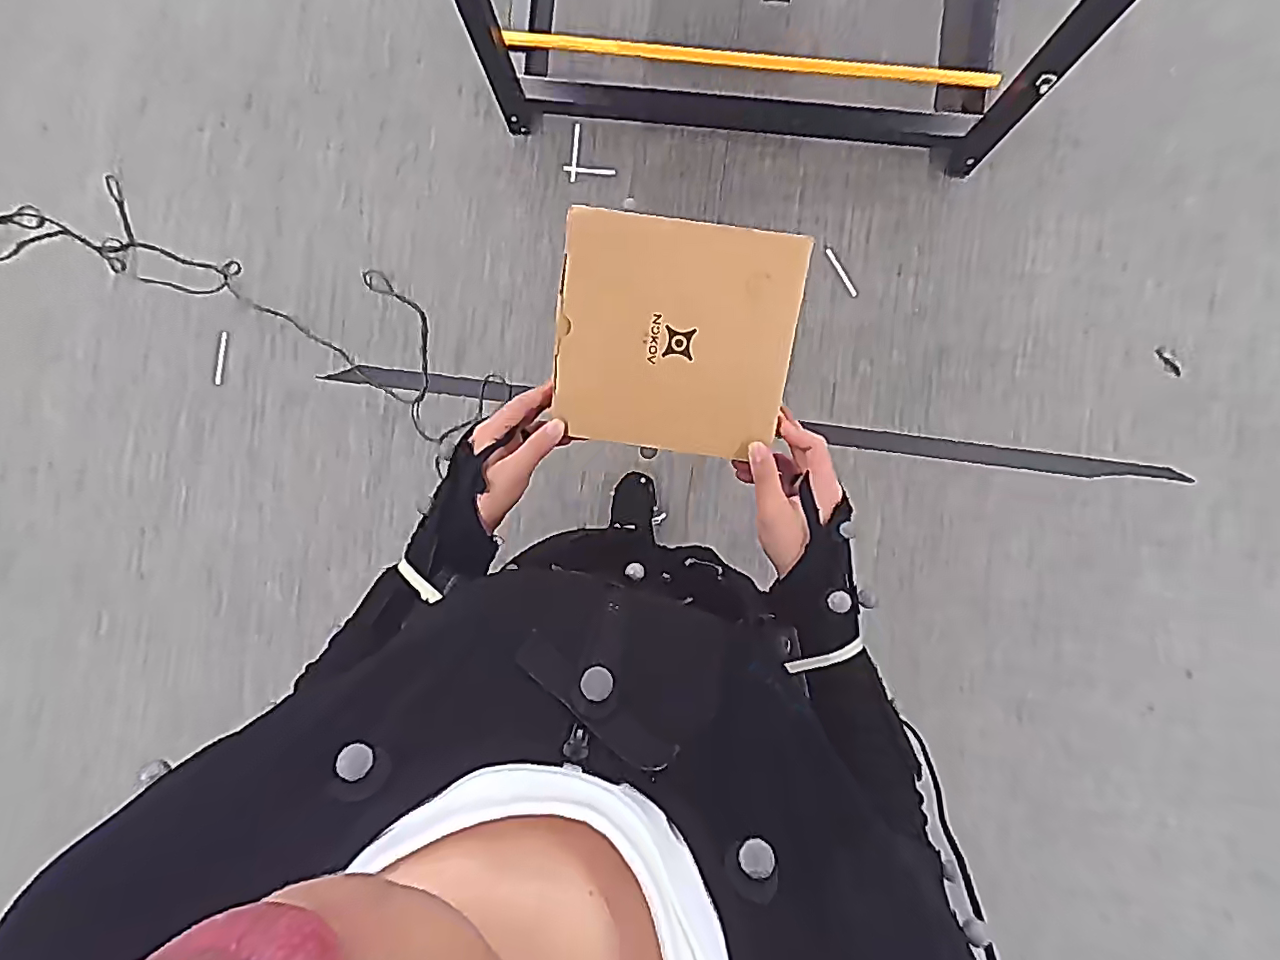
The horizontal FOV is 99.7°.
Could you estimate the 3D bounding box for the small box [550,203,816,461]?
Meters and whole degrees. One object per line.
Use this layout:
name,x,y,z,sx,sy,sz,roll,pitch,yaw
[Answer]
small box,0.032,-0.125,0.472,0.179,0.176,0.168,8,105,3
